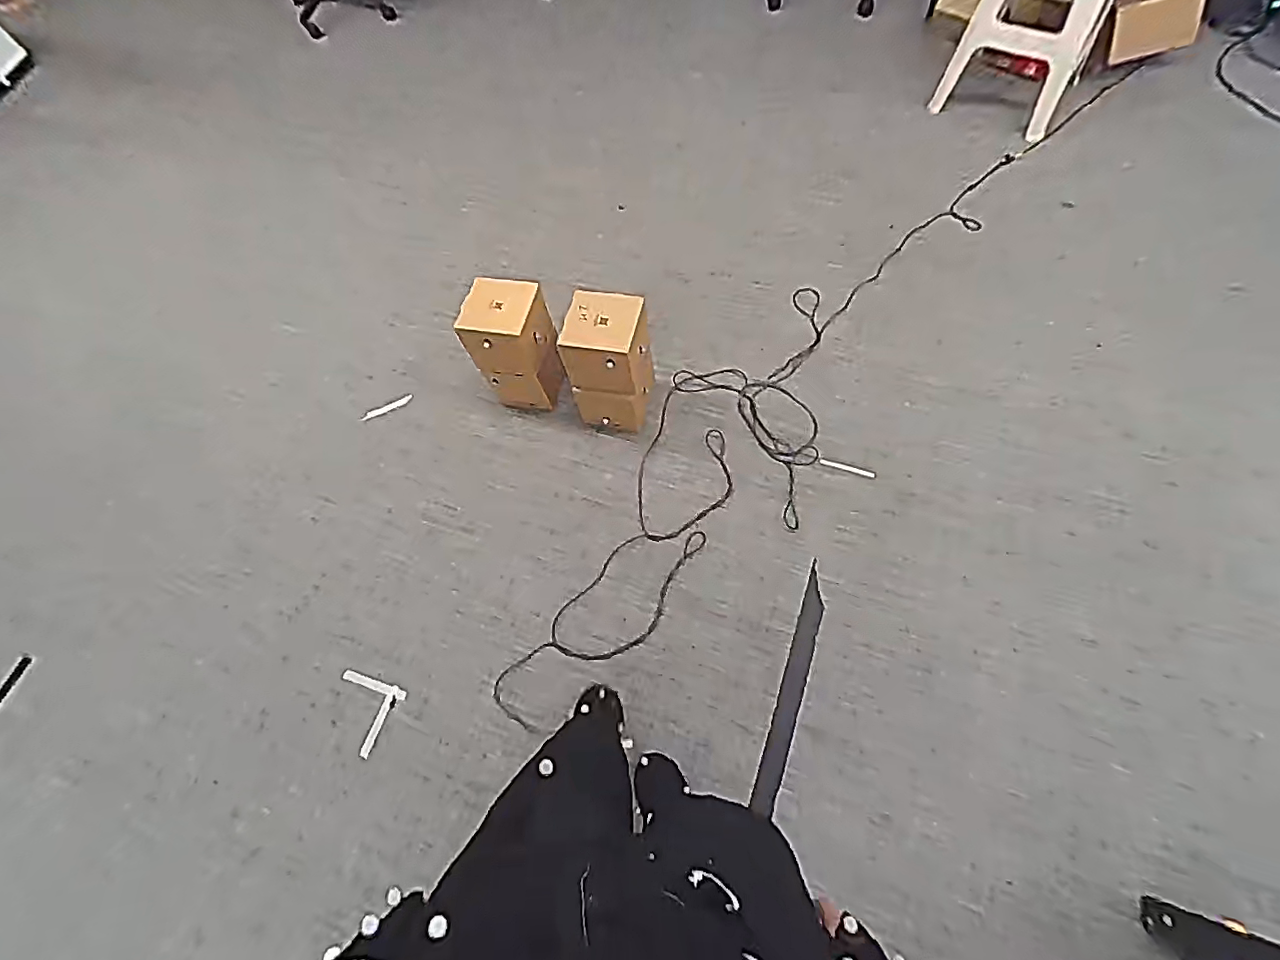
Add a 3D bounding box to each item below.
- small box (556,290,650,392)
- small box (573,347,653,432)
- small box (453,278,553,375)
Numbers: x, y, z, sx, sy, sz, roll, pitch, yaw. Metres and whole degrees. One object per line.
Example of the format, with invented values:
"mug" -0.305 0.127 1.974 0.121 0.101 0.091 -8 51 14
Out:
"small box" -0.081 -0.334 1.318 0.179 0.176 0.168 10 67 12
"small box" -0.064 -0.256 1.463 0.168 0.176 0.179 12 68 13
"small box" -0.338 -0.387 1.378 0.179 0.176 0.168 9 67 11
